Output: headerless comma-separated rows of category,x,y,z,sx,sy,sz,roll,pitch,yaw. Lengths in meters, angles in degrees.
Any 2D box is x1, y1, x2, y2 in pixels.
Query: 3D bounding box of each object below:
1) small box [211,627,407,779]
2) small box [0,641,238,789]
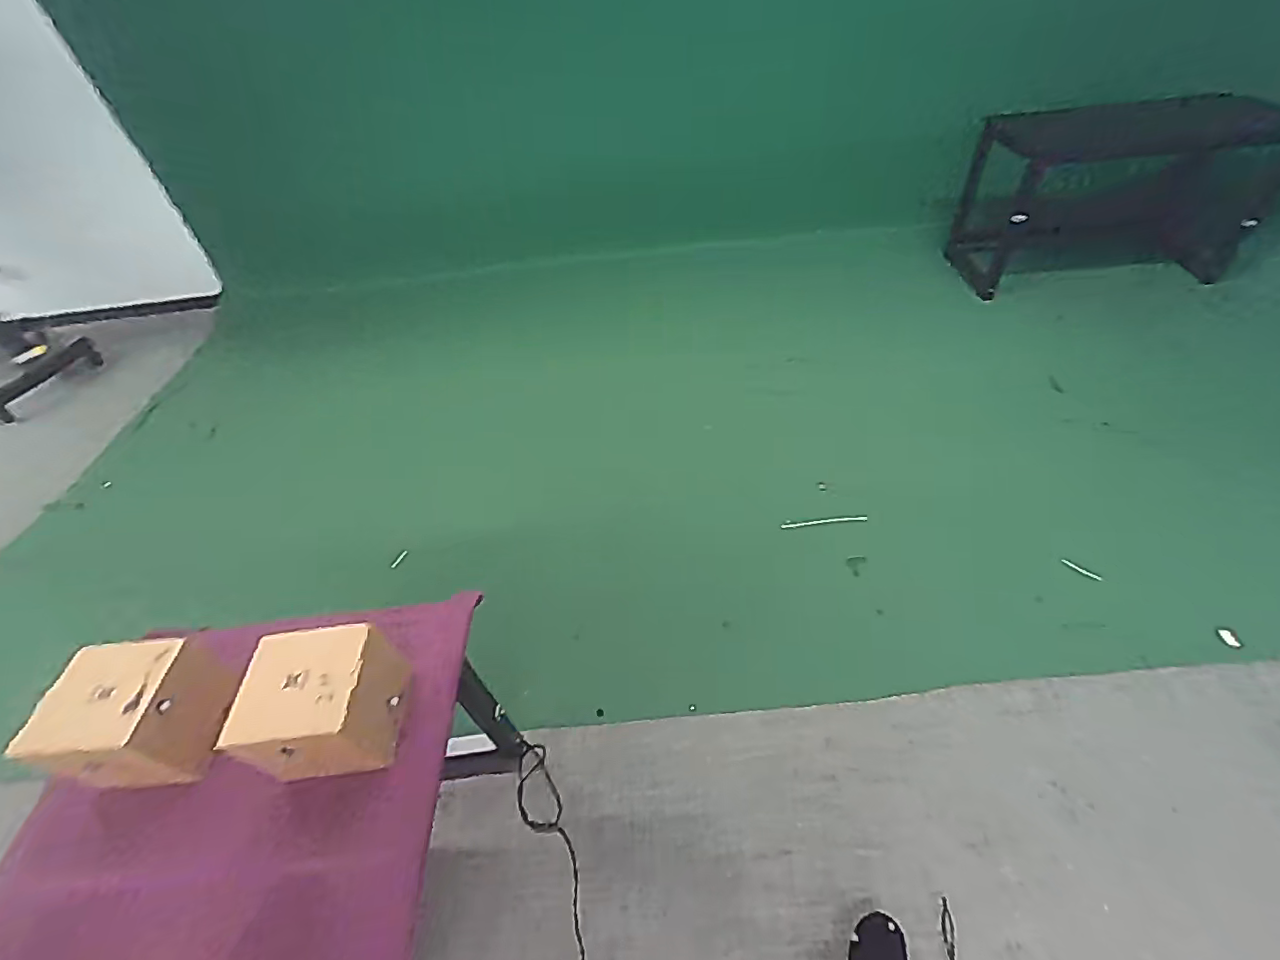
small box,-0.492,0.349,0.837,0.179,0.176,0.168,-6,49,0
small box,-0.796,0.372,0.850,0.179,0.176,0.168,-5,48,1
